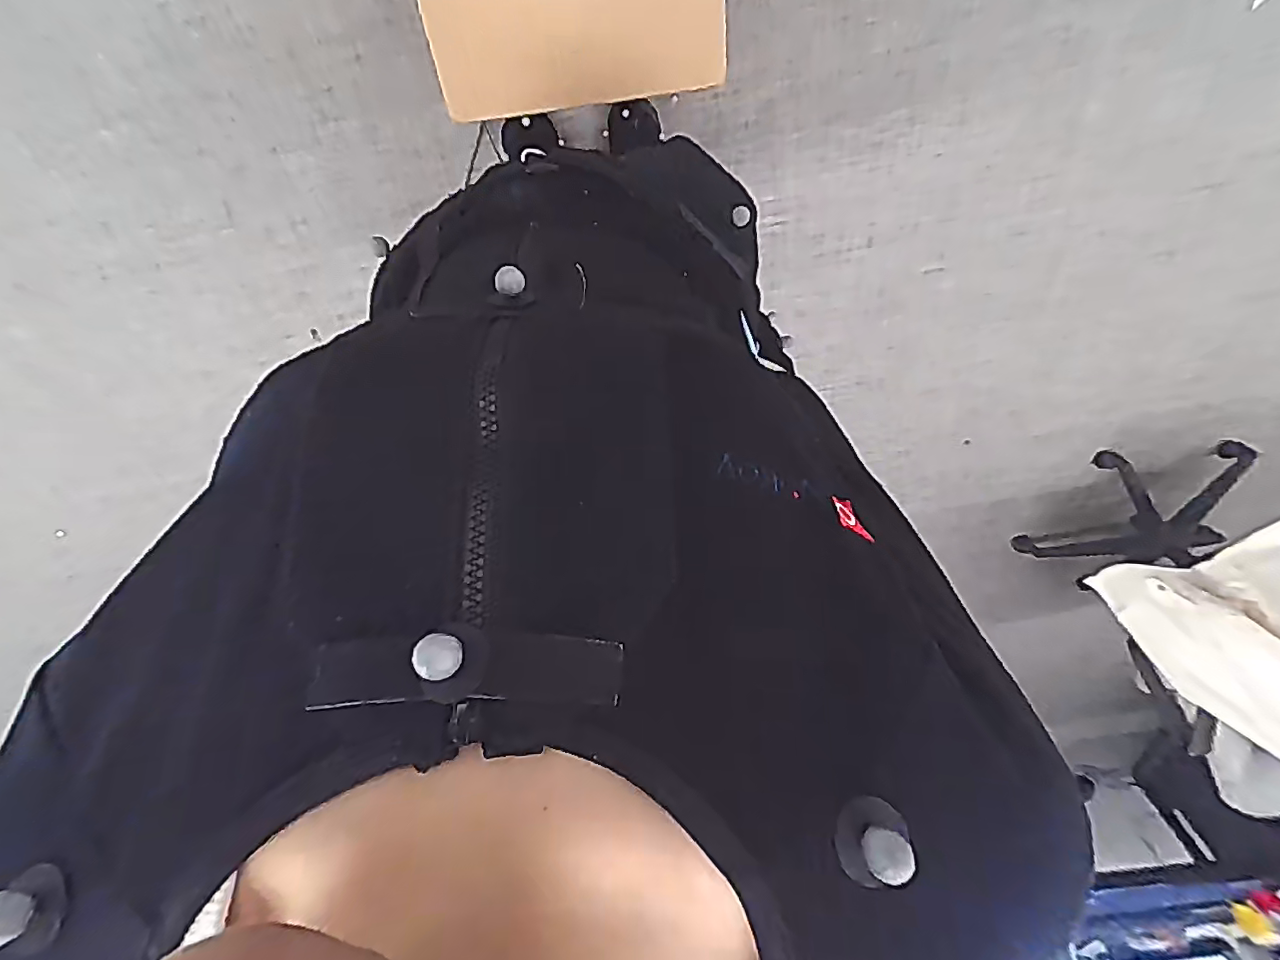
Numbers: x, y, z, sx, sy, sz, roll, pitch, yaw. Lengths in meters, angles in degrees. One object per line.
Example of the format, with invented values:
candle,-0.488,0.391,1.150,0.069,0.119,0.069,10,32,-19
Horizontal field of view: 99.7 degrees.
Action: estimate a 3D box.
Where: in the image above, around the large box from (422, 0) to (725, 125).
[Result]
large box,-0.099,-0.759,0.808,0.408,0.320,0.320,-7,128,1
